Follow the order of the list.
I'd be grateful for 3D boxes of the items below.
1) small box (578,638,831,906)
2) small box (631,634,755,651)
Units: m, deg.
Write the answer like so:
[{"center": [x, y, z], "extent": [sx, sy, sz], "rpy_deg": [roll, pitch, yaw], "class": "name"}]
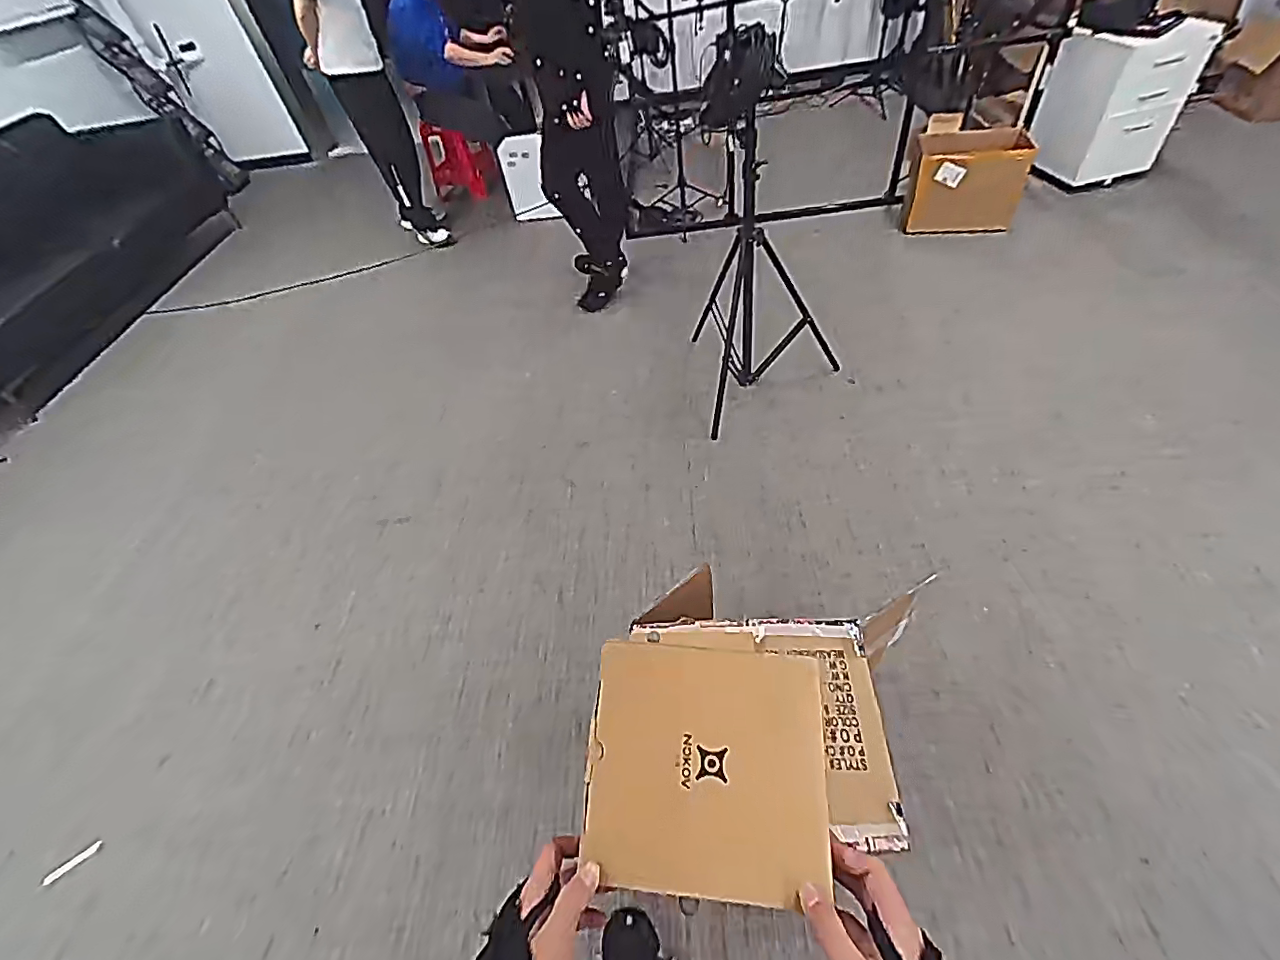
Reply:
[{"center": [0.056, 0.244, 0.476], "extent": [0.179, 0.176, 0.168], "rpy_deg": [2, 63, 7], "class": "small box"}, {"center": [0.078, 0.331, 0.769], "extent": [0.179, 0.176, 0.168], "rpy_deg": [-2, 52, 8], "class": "small box"}]
